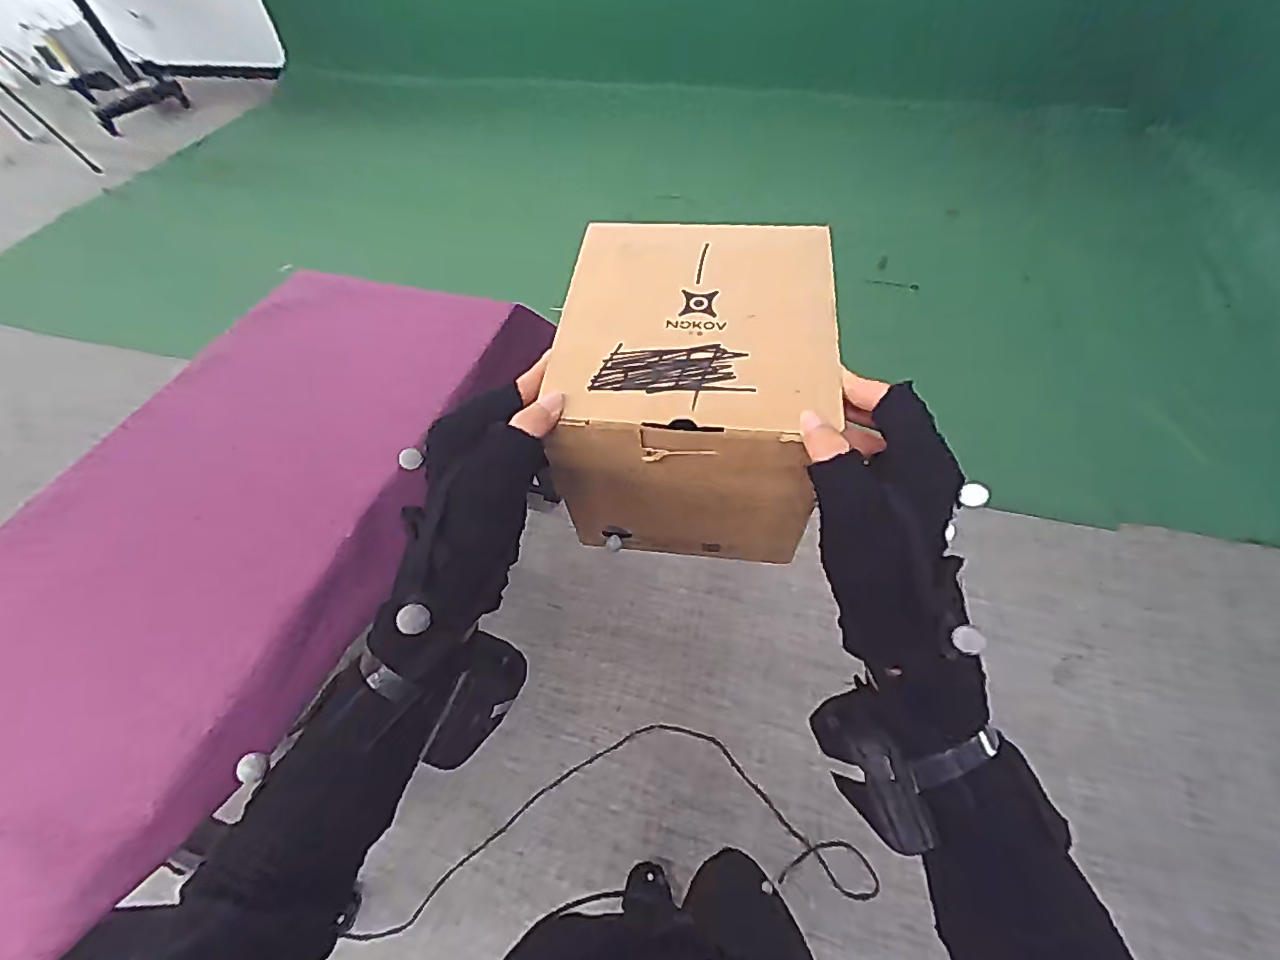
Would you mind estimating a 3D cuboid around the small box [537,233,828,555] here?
[{"bbox_3d":[0.039,-0.058,0.406,0.168,0.176,0.179,4,58,8],"label":"small box"}]
